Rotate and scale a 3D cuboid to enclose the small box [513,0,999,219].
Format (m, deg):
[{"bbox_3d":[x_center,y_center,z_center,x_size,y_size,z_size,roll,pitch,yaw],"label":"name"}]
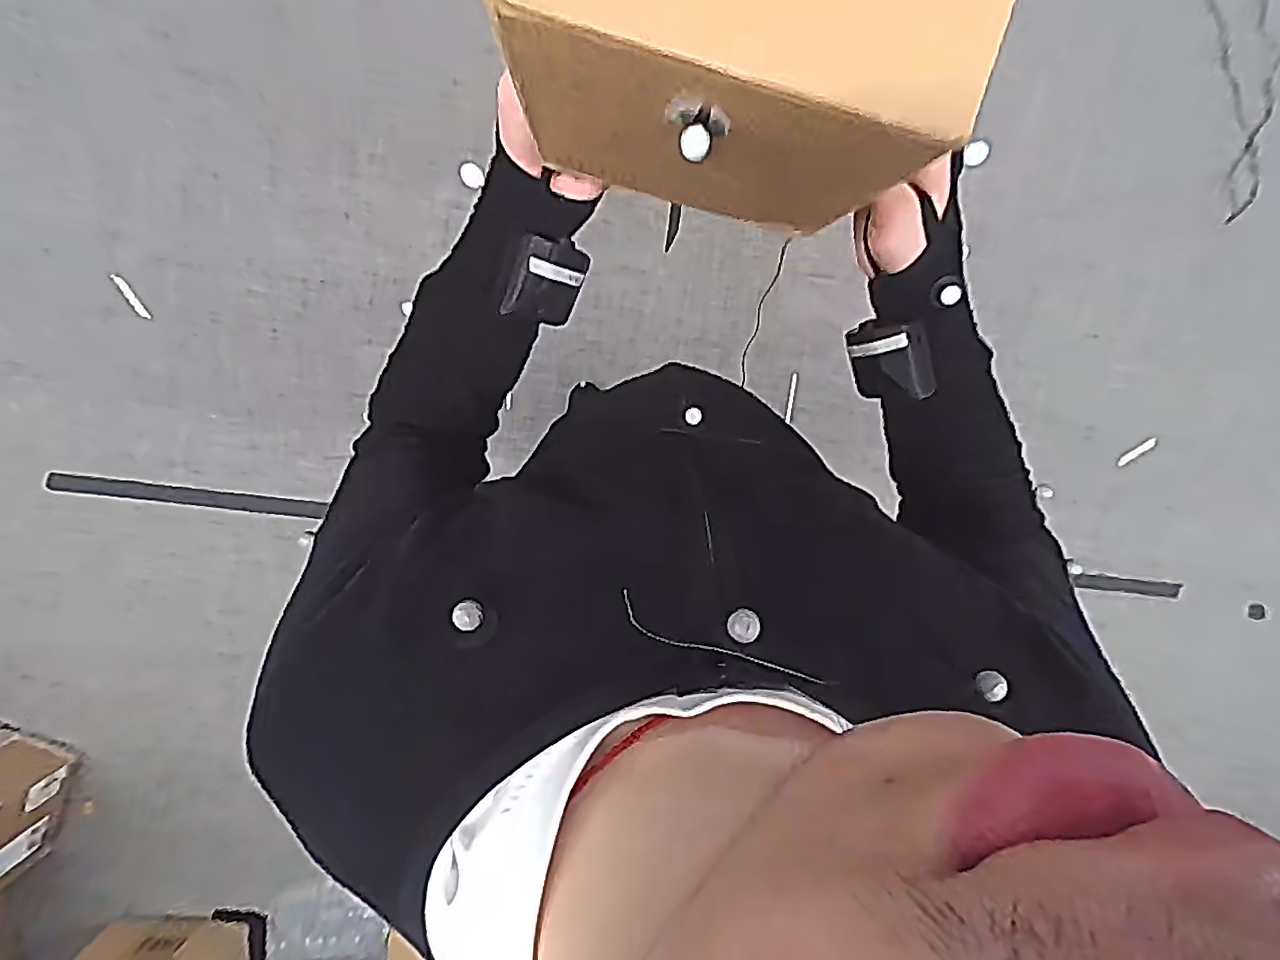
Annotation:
[{"bbox_3d":[0.048,-0.241,0.253,0.179,0.176,0.168,12,103,-7],"label":"small box"}]
